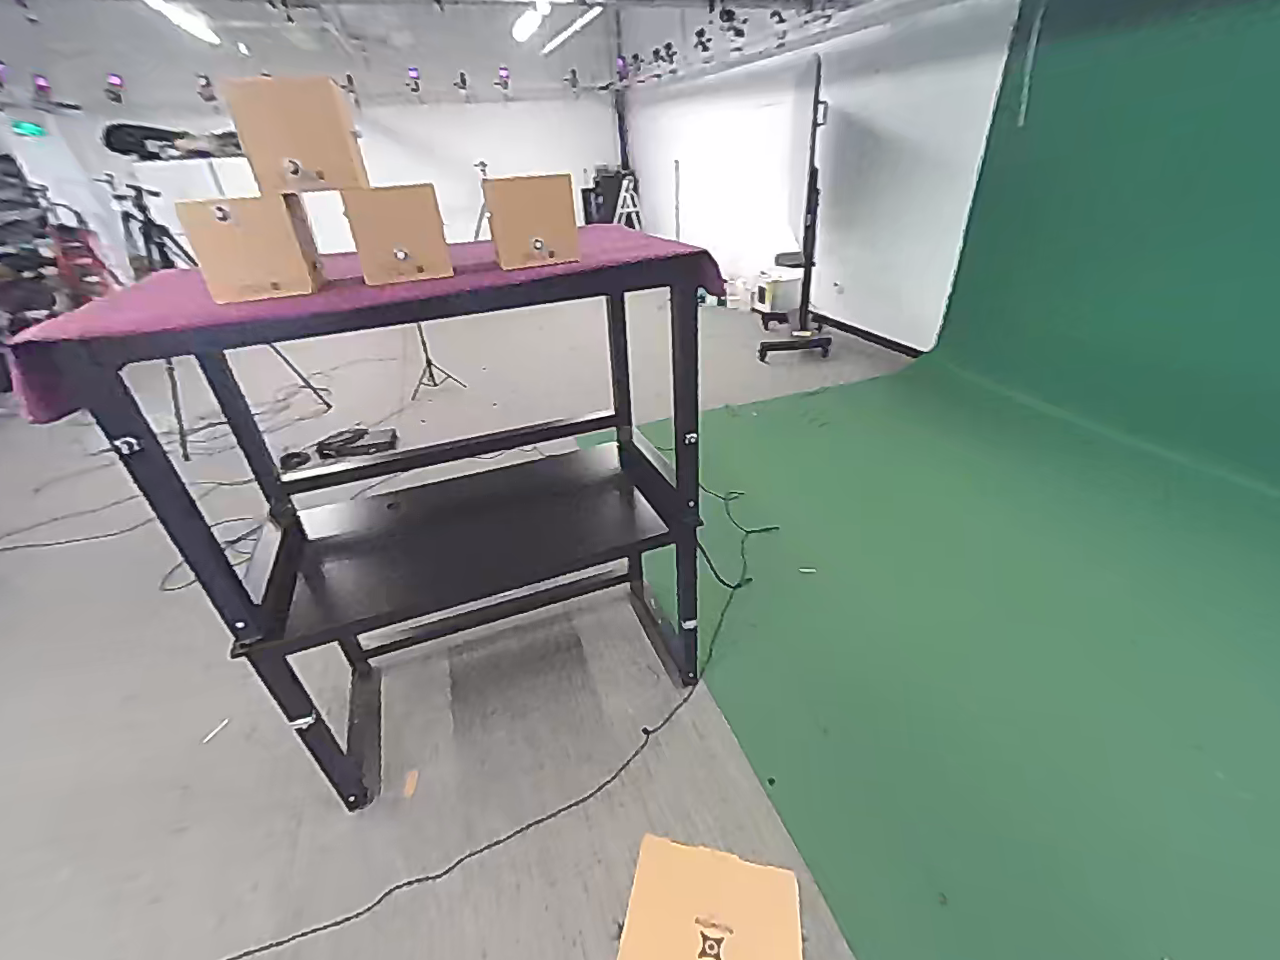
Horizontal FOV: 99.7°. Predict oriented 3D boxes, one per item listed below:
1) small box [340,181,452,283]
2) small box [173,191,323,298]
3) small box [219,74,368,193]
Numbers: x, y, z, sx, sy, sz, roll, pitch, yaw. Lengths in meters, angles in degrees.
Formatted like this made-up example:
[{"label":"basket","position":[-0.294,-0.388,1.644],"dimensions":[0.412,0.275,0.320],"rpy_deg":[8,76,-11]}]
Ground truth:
[{"label":"small box","position":[-0.483,-0.502,1.090],"dimensions":[0.168,0.176,0.179],"rpy_deg":[-13,32,-15]},{"label":"small box","position":[-0.719,-0.445,1.018],"dimensions":[0.168,0.176,0.179],"rpy_deg":[-14,31,-16]},{"label":"small box","position":[-0.607,-0.617,0.976],"dimensions":[0.168,0.176,0.179],"rpy_deg":[-12,32,-14]}]
